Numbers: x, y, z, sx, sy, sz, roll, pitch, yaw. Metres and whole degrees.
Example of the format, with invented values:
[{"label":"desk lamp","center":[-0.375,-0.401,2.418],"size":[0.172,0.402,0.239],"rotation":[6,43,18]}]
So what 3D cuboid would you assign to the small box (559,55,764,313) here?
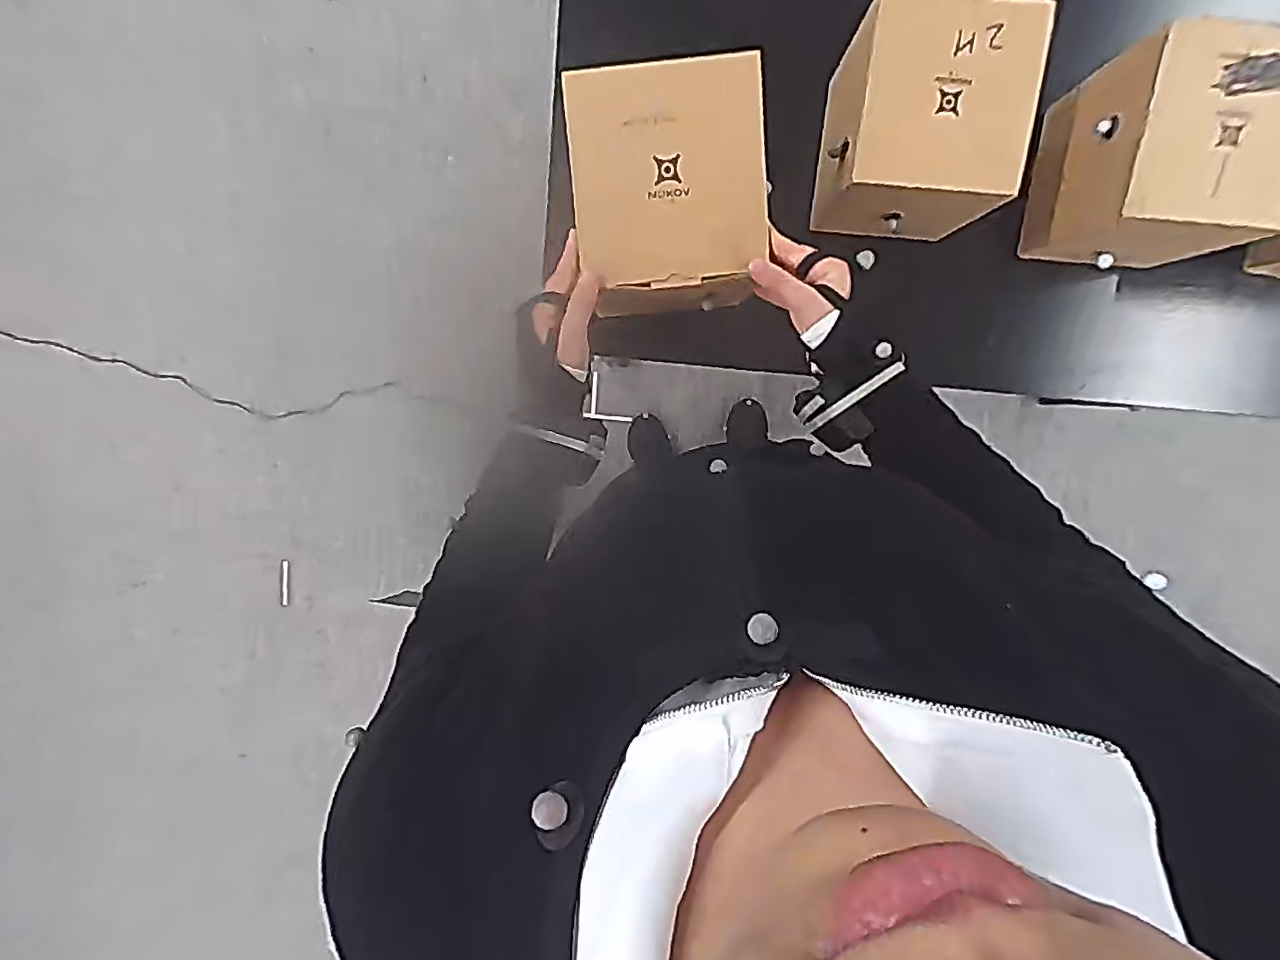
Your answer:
[{"label":"small box","center":[0.022,-0.267,0.534],"size":[0.168,0.176,0.179],"rotation":[-5,98,1]}]

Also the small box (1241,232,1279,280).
[{"label":"small box","center":[0.842,-0.315,0.590],"size":[0.179,0.176,0.168],"rotation":[9,99,2]}]

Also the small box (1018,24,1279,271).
[{"label":"small box","center":[0.563,-0.348,0.599],"size":[0.168,0.176,0.179],"rotation":[6,100,2]}]

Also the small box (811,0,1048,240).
[{"label":"small box","center":[0.300,-0.384,0.605],"size":[0.168,0.176,0.179],"rotation":[6,99,1]}]
